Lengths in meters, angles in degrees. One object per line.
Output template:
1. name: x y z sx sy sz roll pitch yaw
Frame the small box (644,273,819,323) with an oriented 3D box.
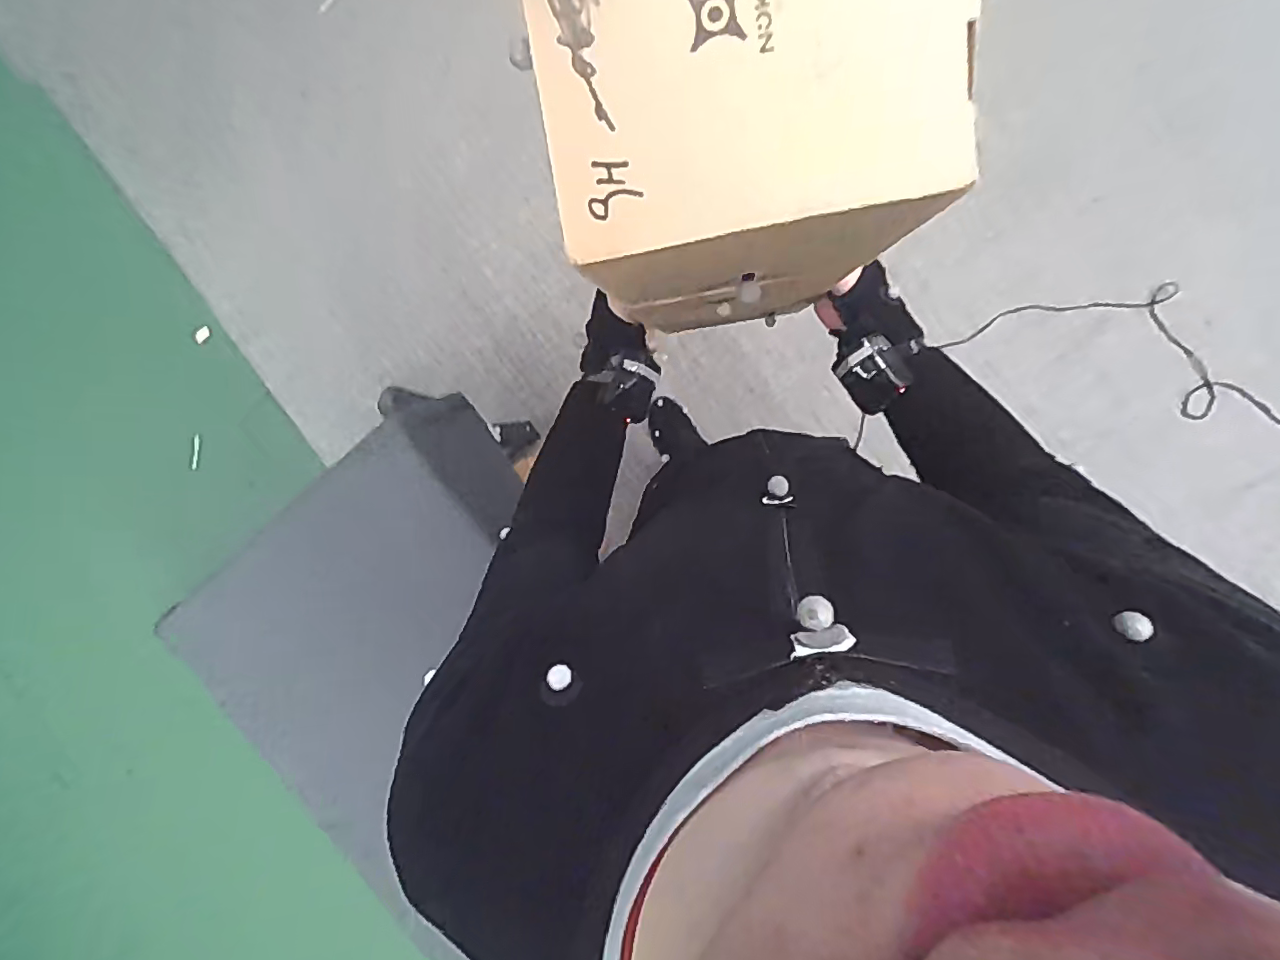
1. small box: 0.090 -0.275 0.601 0.179 0.176 0.168 -7 100 11

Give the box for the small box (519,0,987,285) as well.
1. small box: 0.047 -0.209 0.283 0.179 0.176 0.168 -7 101 8

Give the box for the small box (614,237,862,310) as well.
1. small box: 0.066 -0.242 0.442 0.179 0.176 0.168 -7 101 8
